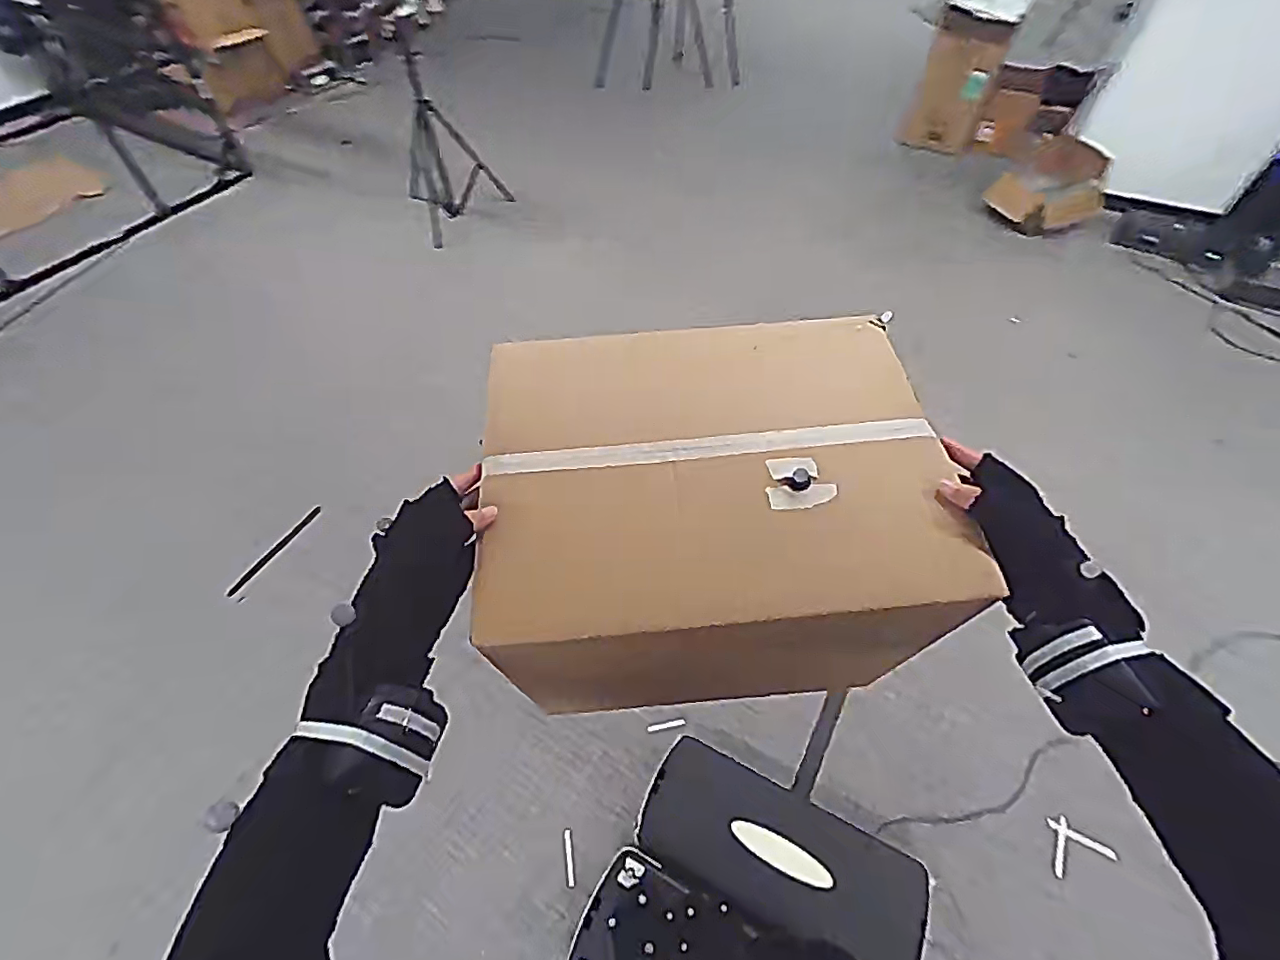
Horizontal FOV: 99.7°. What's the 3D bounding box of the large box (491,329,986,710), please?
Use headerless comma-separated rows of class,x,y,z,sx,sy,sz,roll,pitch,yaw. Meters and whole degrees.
large box,0.068,0.059,0.625,0.408,0.320,0.320,-4,58,-2

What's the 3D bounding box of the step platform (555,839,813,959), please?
step platform,0.161,1.079,1.145,0.684,0.204,0.286,21,57,17
